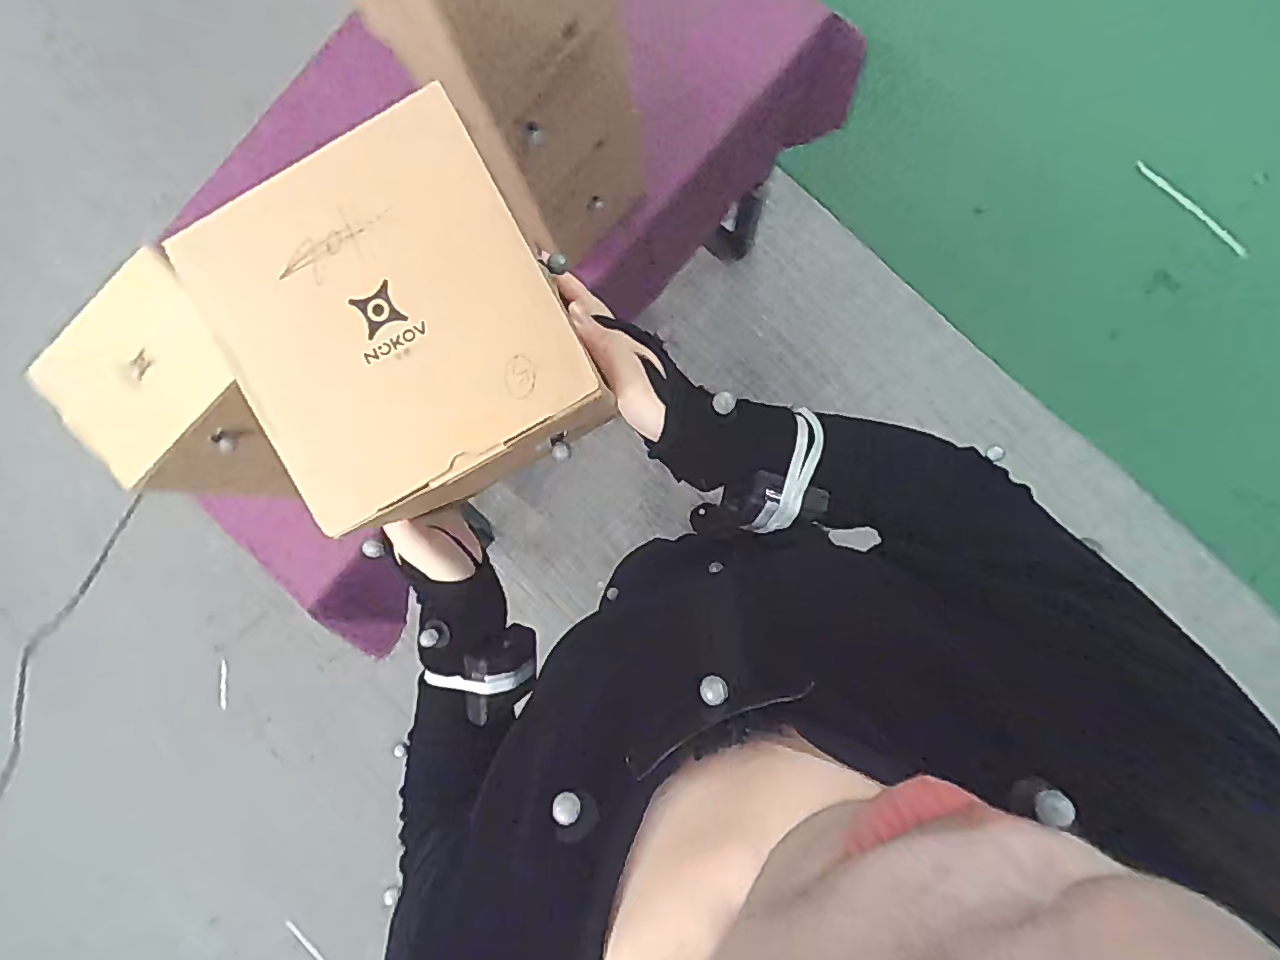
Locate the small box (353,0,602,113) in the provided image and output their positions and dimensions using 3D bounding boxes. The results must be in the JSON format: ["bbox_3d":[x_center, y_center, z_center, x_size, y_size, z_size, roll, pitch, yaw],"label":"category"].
[{"bbox_3d":[-0.150,-0.435,0.410,0.179,0.176,0.168,41,92,7],"label":"small box"}]

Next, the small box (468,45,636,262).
[{"bbox_3d":[-0.119,-0.442,0.739,0.168,0.176,0.179,44,93,5],"label":"small box"}]

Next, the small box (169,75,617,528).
[{"bbox_3d":[-0.124,-0.092,0.351,0.168,0.176,0.179,-27,93,3],"label":"small box"}]

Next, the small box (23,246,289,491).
[{"bbox_3d":[-0.468,-0.105,0.588,0.168,0.176,0.179,44,93,5],"label":"small box"}]
